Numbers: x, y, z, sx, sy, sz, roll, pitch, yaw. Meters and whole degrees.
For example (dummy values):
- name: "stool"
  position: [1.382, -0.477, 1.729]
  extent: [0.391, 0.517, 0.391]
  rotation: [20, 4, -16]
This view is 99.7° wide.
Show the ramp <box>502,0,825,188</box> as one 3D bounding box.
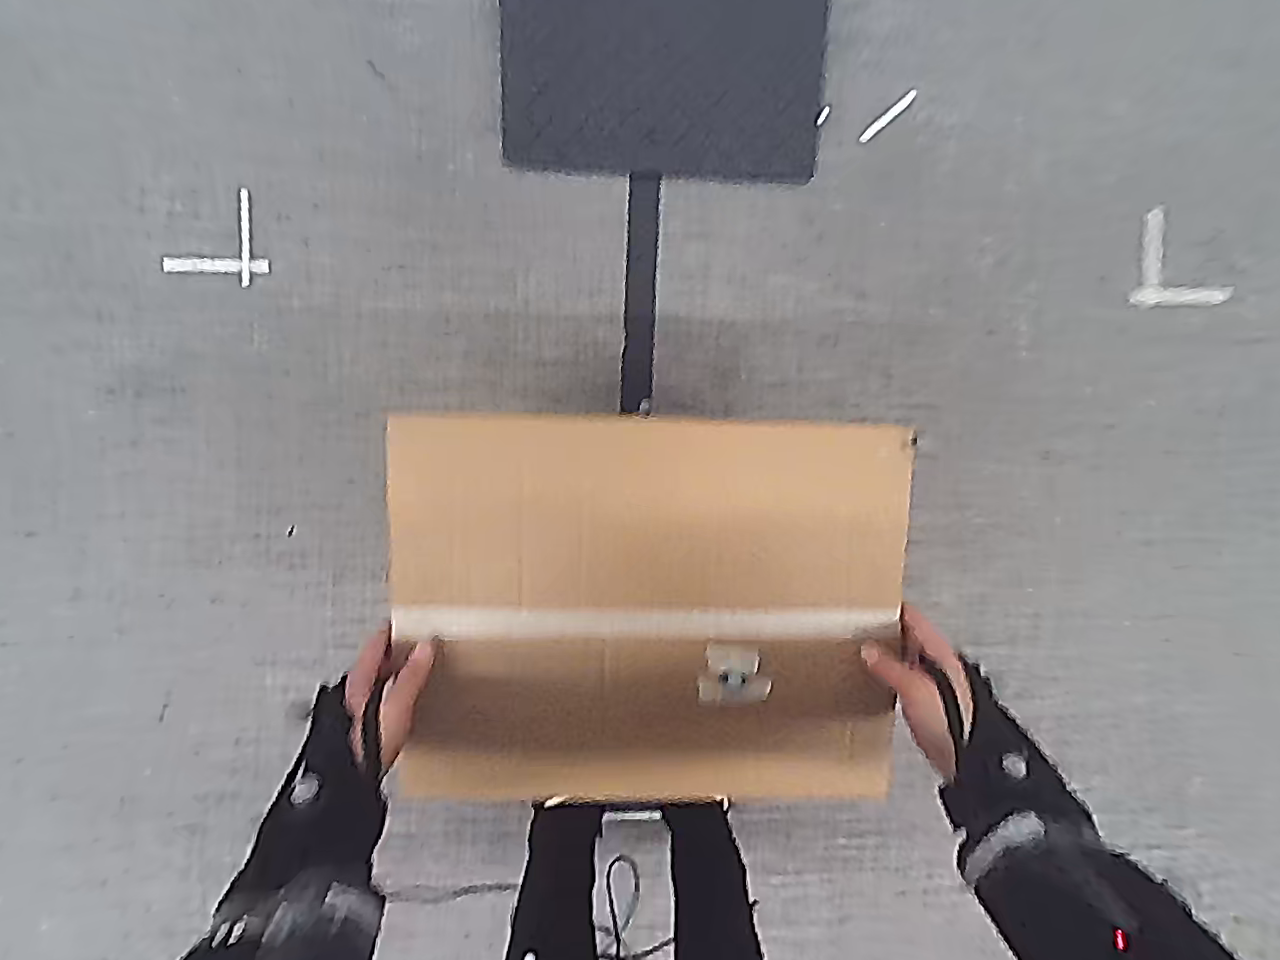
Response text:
- name: "ramp"
  position: [0.047, -0.964, 0.757]
  extent: [0.509, 0.206, 0.991]
  rotation: [-1, 93, -4]

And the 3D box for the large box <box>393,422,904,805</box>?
- name: "large box"
  position: [0.001, 0.097, 0.580]
  extent: [0.408, 0.320, 0.320]
  rotation: [1, 97, -3]
